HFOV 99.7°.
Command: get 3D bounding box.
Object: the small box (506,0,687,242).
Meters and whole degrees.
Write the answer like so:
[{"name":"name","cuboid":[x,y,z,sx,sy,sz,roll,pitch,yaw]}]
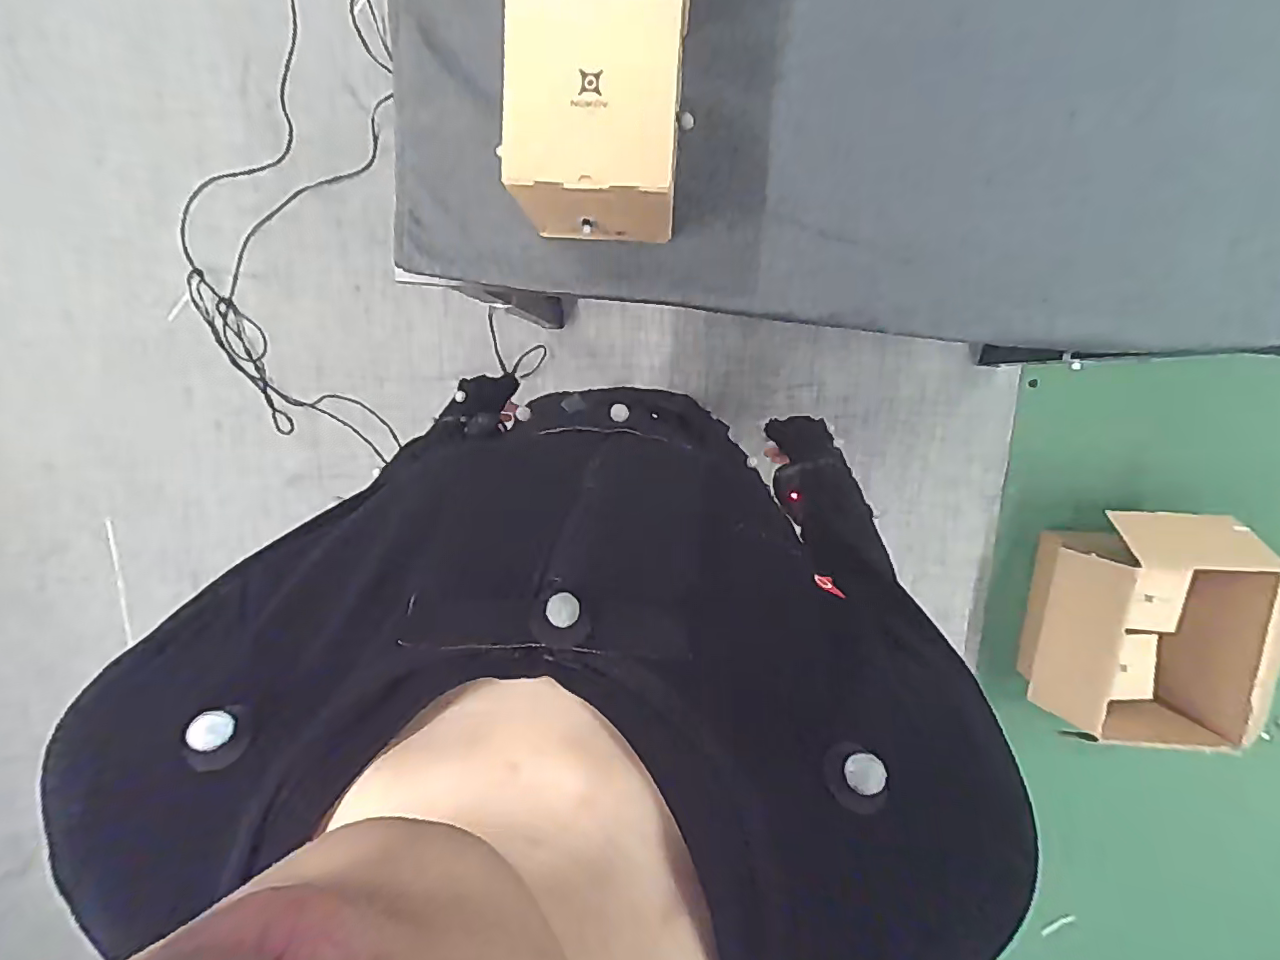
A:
[{"name":"small box","cuboid":[-0.041,-0.381,0.592,0.168,0.176,0.179,4,98,2]}]
